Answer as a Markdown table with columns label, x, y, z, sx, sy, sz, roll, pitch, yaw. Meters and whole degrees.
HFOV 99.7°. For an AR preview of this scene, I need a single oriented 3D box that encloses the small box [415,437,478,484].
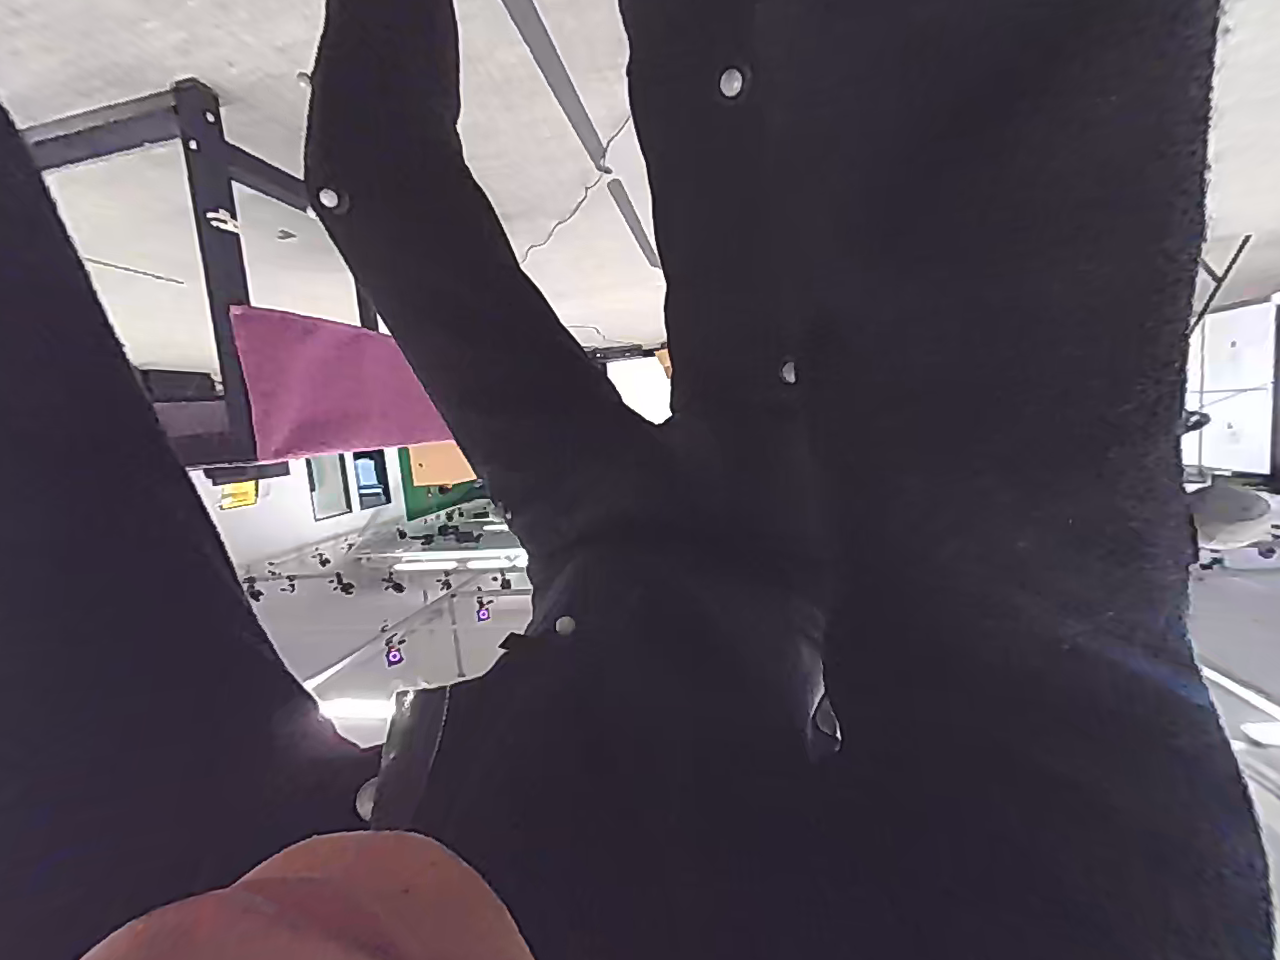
| label | x | y | z | sx | sy | sz | roll | pitch | yaw |
| --- | --- | --- | --- | --- | --- | --- | --- | --- | --- |
| small box | -0.769 | -0.080 | 2.142 | 0.179 | 0.176 | 0.168 | -3 | -173 | 15 |
